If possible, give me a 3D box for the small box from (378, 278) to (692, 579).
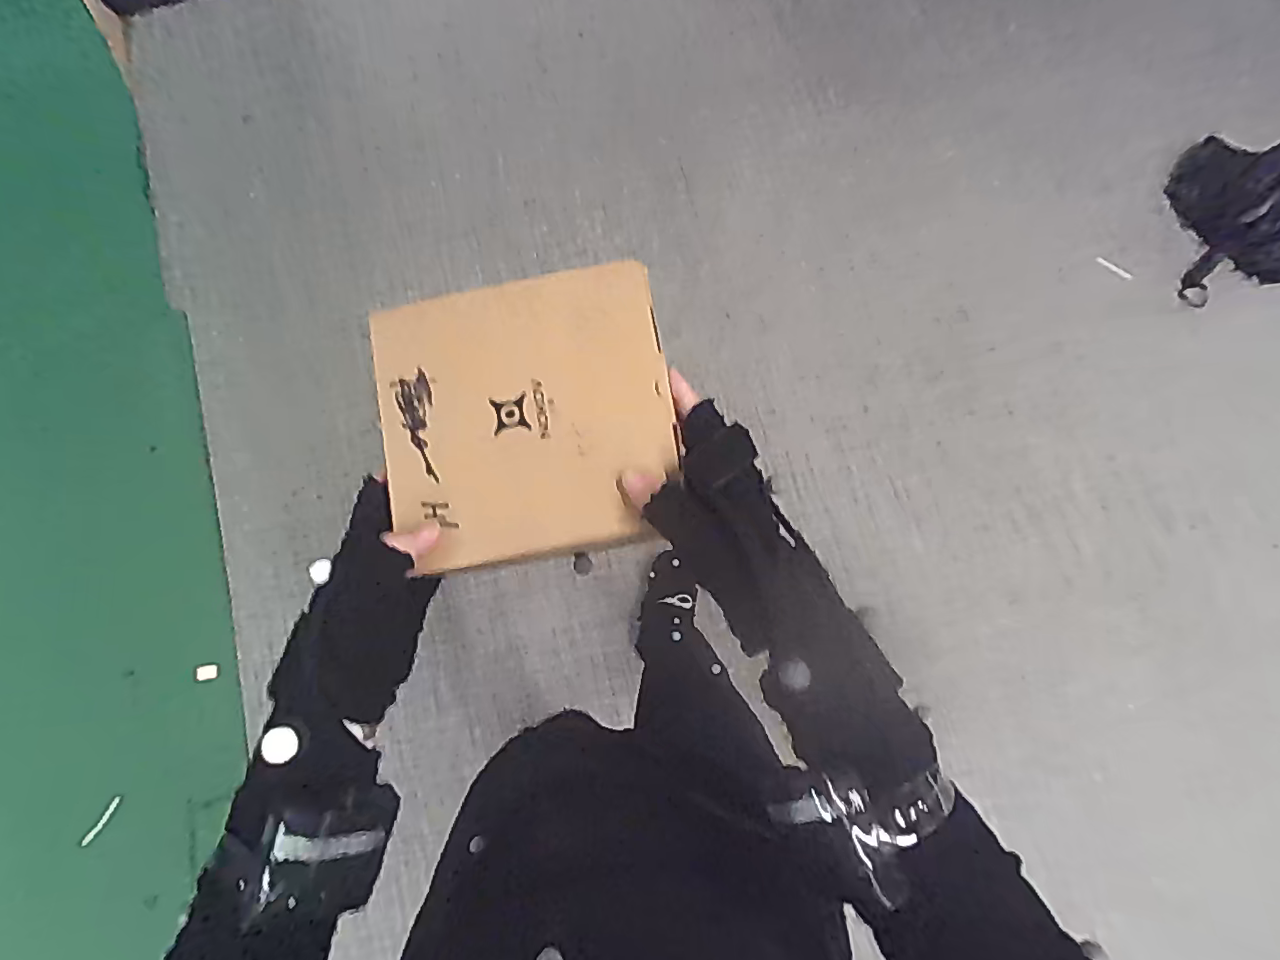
[{"bbox_3d":[-0.065,-0.025,0.409,0.179,0.176,0.168,-10,82,1],"label":"small box"}]
